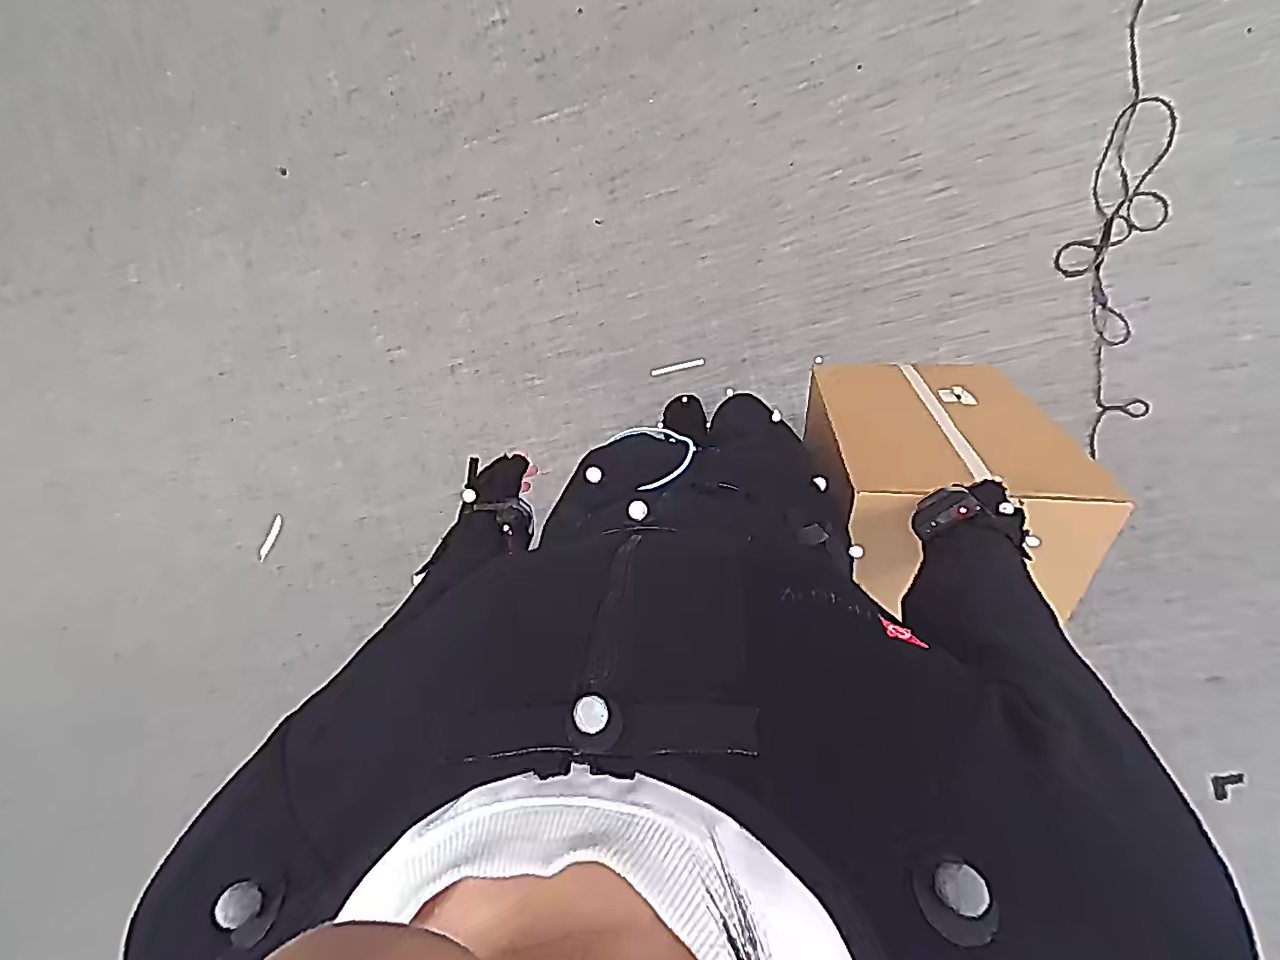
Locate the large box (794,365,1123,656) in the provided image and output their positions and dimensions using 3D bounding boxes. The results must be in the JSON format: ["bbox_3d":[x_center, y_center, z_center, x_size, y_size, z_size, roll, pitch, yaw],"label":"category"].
[{"bbox_3d":[0.452,0.032,0.899,0.320,0.408,0.320,3,124,6],"label":"large box"}]
